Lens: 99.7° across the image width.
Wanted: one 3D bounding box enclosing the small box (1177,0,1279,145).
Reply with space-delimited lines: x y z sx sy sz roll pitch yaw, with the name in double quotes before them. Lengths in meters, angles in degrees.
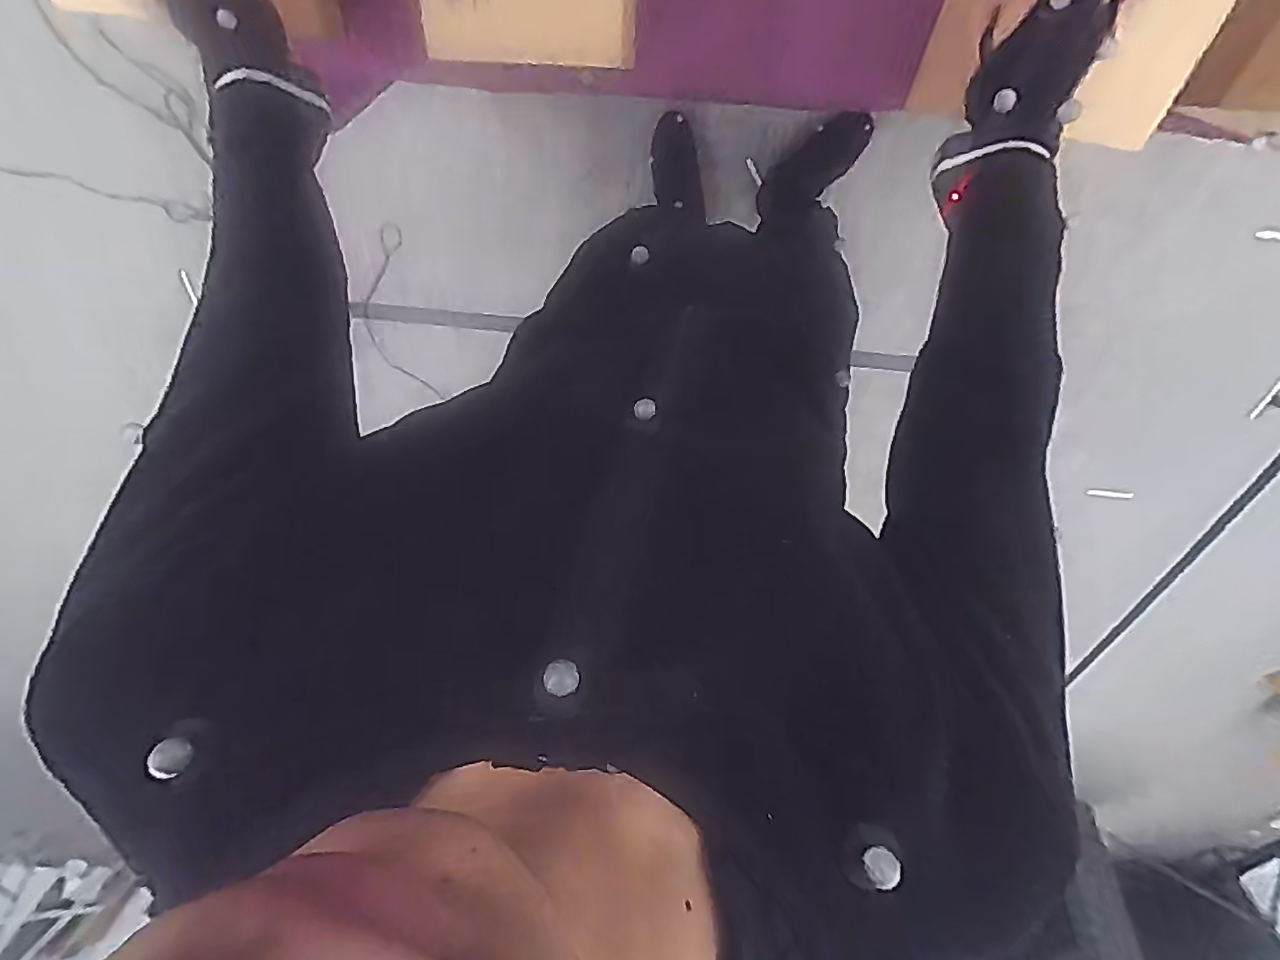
"small box" 0.660 -0.407 0.477 0.168 0.176 0.179 14 127 -5
